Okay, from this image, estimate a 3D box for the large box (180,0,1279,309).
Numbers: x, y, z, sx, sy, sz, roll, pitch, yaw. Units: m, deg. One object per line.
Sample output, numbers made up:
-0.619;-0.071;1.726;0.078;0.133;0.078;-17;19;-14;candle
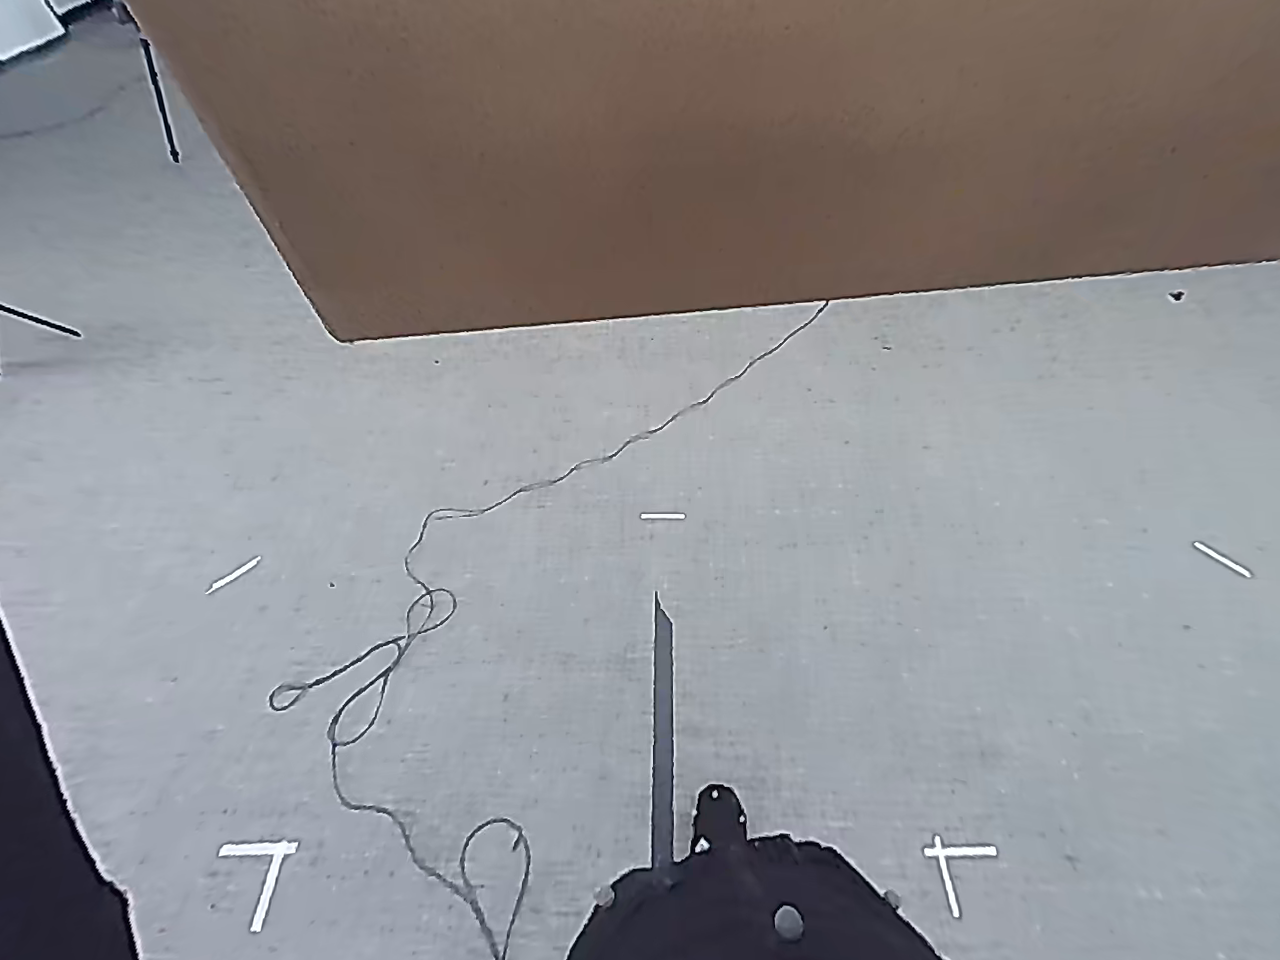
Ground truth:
0.050;-0.297;0.211;0.408;0.320;0.320;-5;52;-1;large box
